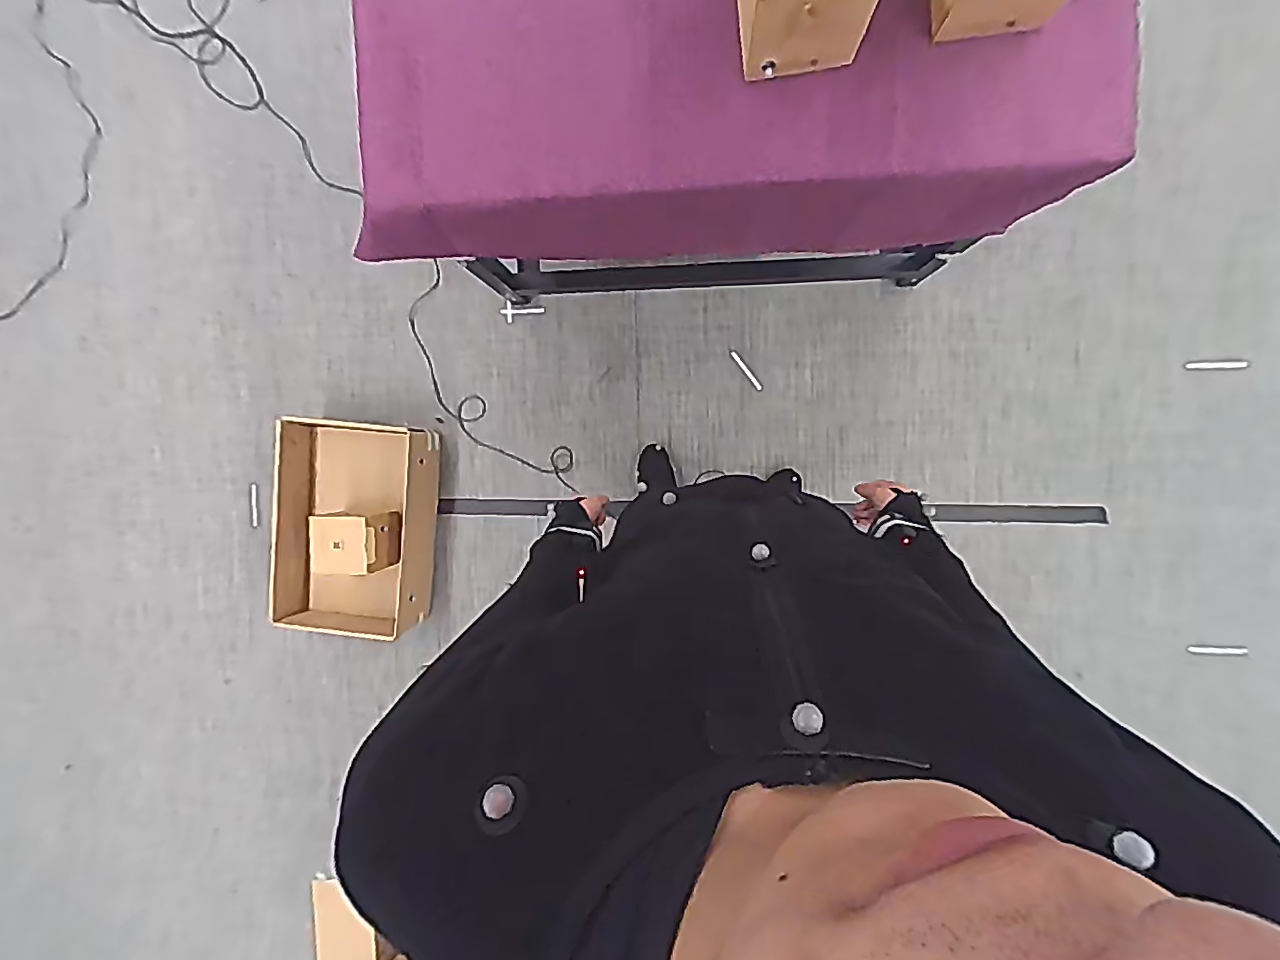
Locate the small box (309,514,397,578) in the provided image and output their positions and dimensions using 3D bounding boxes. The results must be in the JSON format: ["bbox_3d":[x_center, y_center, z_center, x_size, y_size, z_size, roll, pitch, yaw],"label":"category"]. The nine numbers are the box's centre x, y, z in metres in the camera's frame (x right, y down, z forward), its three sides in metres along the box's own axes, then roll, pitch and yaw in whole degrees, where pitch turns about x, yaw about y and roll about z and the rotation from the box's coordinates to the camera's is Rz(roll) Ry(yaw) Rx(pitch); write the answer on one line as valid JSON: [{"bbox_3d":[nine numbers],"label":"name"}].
[{"bbox_3d":[-0.838,0.190,1.595,0.179,0.176,0.168,0,92,5],"label":"small box"}]

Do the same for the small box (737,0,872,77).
[{"bbox_3d":[0.230,-0.711,0.764,0.168,0.176,0.179,-6,92,5],"label":"small box"}]
